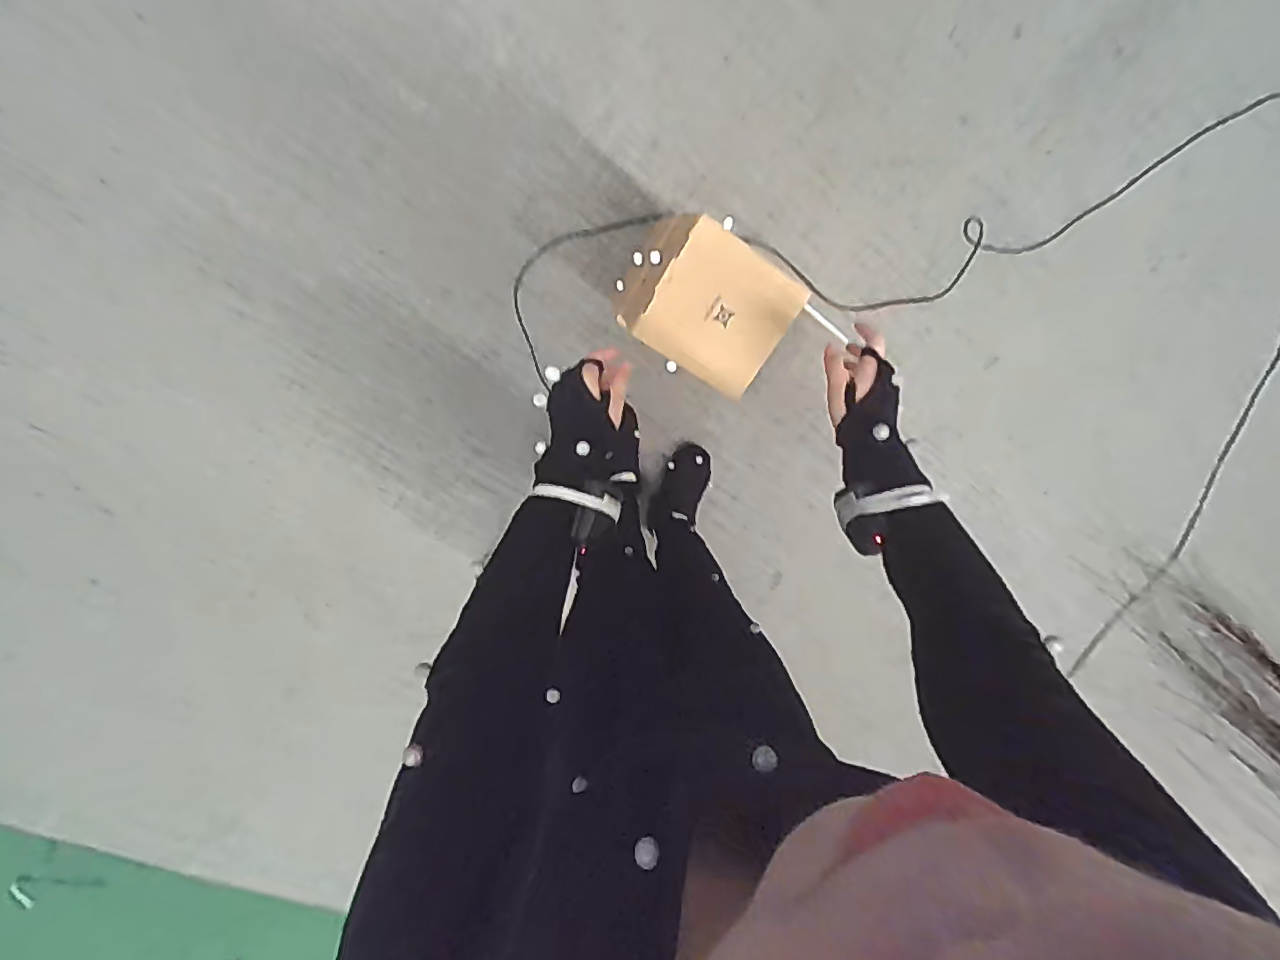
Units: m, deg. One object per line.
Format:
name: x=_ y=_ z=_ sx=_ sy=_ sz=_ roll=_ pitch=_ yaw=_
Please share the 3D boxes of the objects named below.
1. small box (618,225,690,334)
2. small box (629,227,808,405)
small box: x=0.076 y=-0.305 z=0.919 sx=0.168 sy=0.176 sz=0.179 roll=28 pitch=108 yaw=-15
small box: x=0.099 y=-0.238 z=0.771 sx=0.179 sy=0.176 sz=0.168 roll=29 pitch=109 yaw=-14
